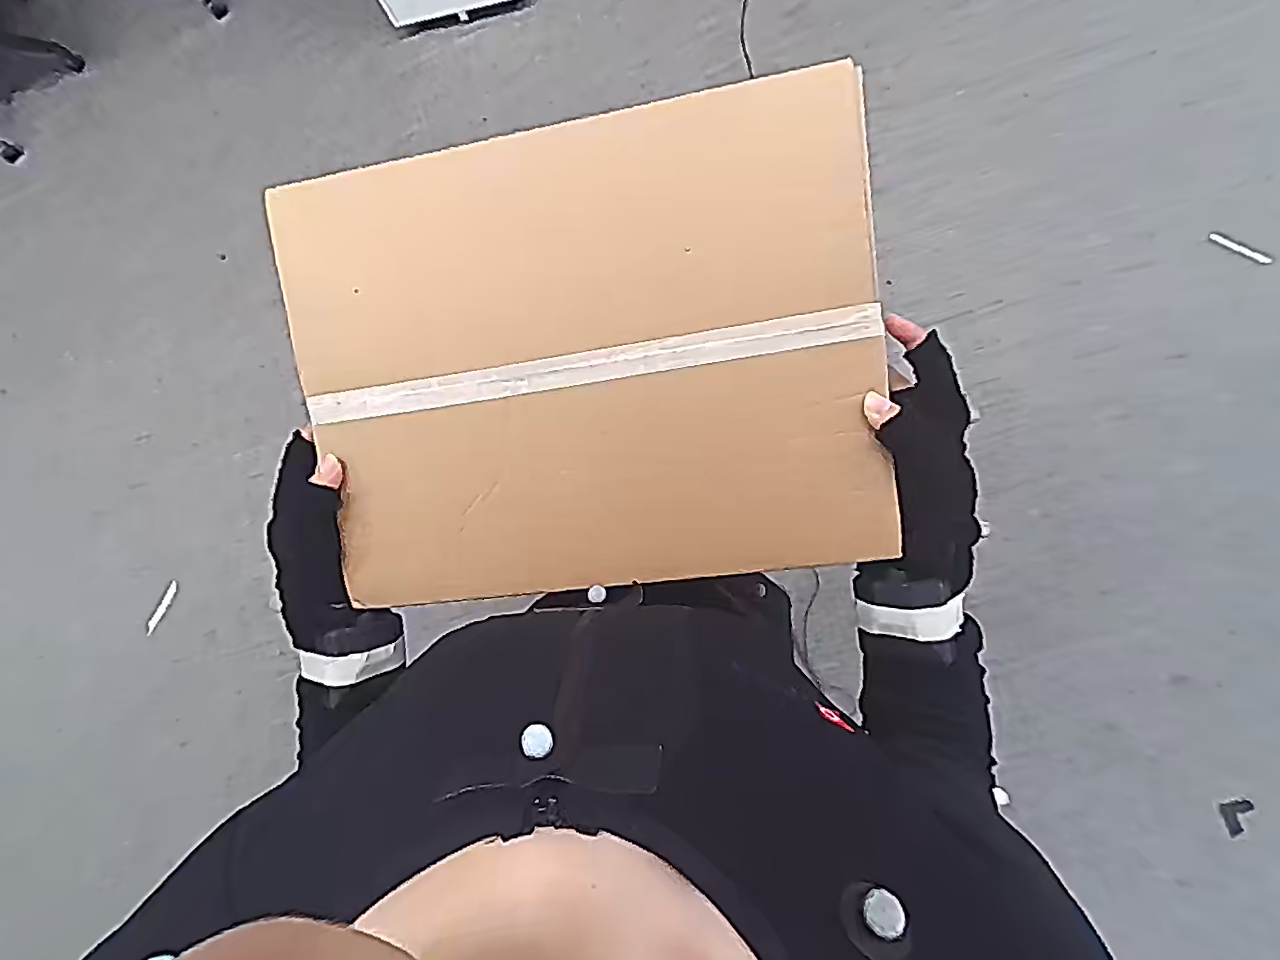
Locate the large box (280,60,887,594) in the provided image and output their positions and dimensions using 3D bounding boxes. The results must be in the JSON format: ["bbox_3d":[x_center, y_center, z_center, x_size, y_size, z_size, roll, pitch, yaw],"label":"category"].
[{"bbox_3d":[-0.026,-0.107,0.526,0.408,0.320,0.320,-7,96,9],"label":"large box"}]
